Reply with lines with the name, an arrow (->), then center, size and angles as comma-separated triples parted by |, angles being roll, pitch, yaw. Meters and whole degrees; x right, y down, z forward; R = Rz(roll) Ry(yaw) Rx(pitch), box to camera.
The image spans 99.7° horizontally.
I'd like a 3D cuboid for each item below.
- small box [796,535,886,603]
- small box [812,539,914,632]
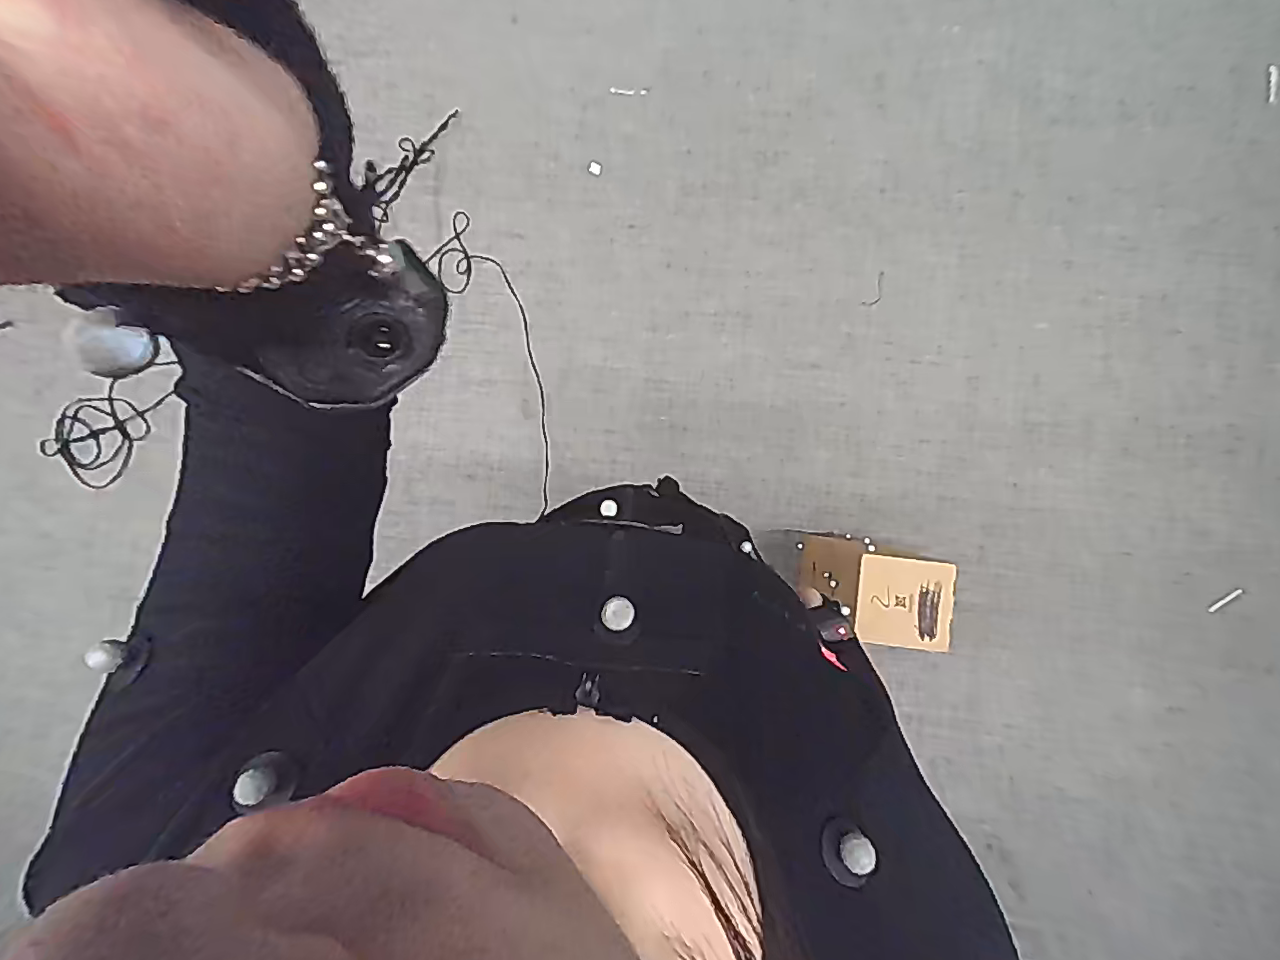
small box -> 0.517, 0.237, 1.408 | 0.179, 0.176, 0.168 | 6, 89, 2
small box -> 0.504, 0.235, 1.244 | 0.168, 0.176, 0.179 | 7, 89, 3
